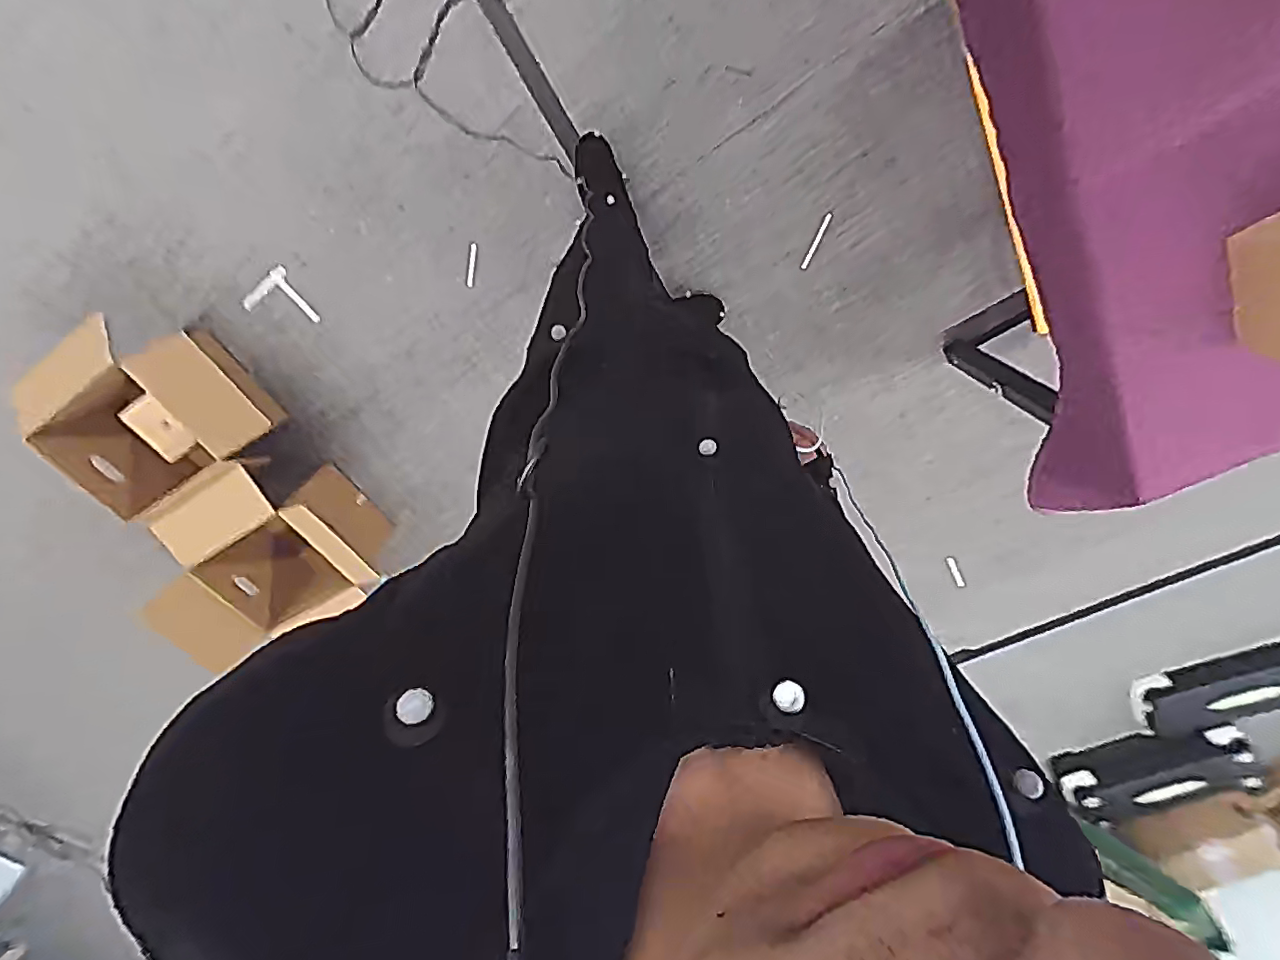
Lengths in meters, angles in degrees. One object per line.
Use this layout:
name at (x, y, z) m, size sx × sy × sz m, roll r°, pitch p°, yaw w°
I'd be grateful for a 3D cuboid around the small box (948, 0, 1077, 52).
small box at (0.688, -0.925, 0.986) m, size 0.168 × 0.176 × 0.179 m, roll -30°, pitch 115°, yaw 17°

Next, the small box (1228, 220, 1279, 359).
small box at (0.884, -0.247, 0.659) m, size 0.168 × 0.176 × 0.179 m, roll -28°, pitch 116°, yaw 16°
